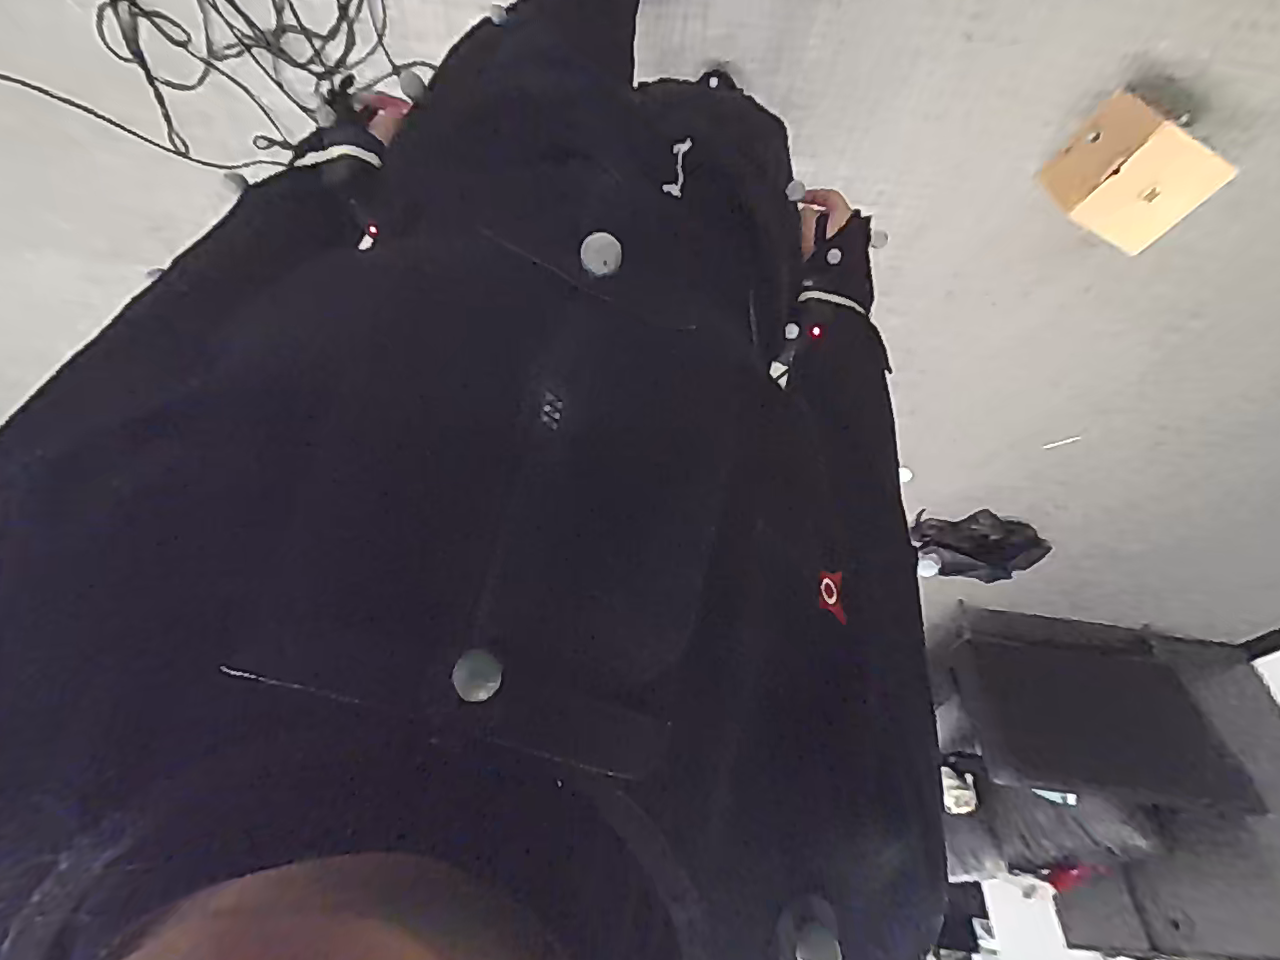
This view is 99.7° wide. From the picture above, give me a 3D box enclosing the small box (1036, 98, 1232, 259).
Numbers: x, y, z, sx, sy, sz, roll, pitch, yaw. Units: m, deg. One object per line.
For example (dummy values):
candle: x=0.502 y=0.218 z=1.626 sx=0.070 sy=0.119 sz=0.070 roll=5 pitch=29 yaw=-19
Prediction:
small box: x=0.868 y=-0.540 z=0.968 sx=0.179 sy=0.176 sz=0.168 roll=19 pitch=140 yaw=-14
